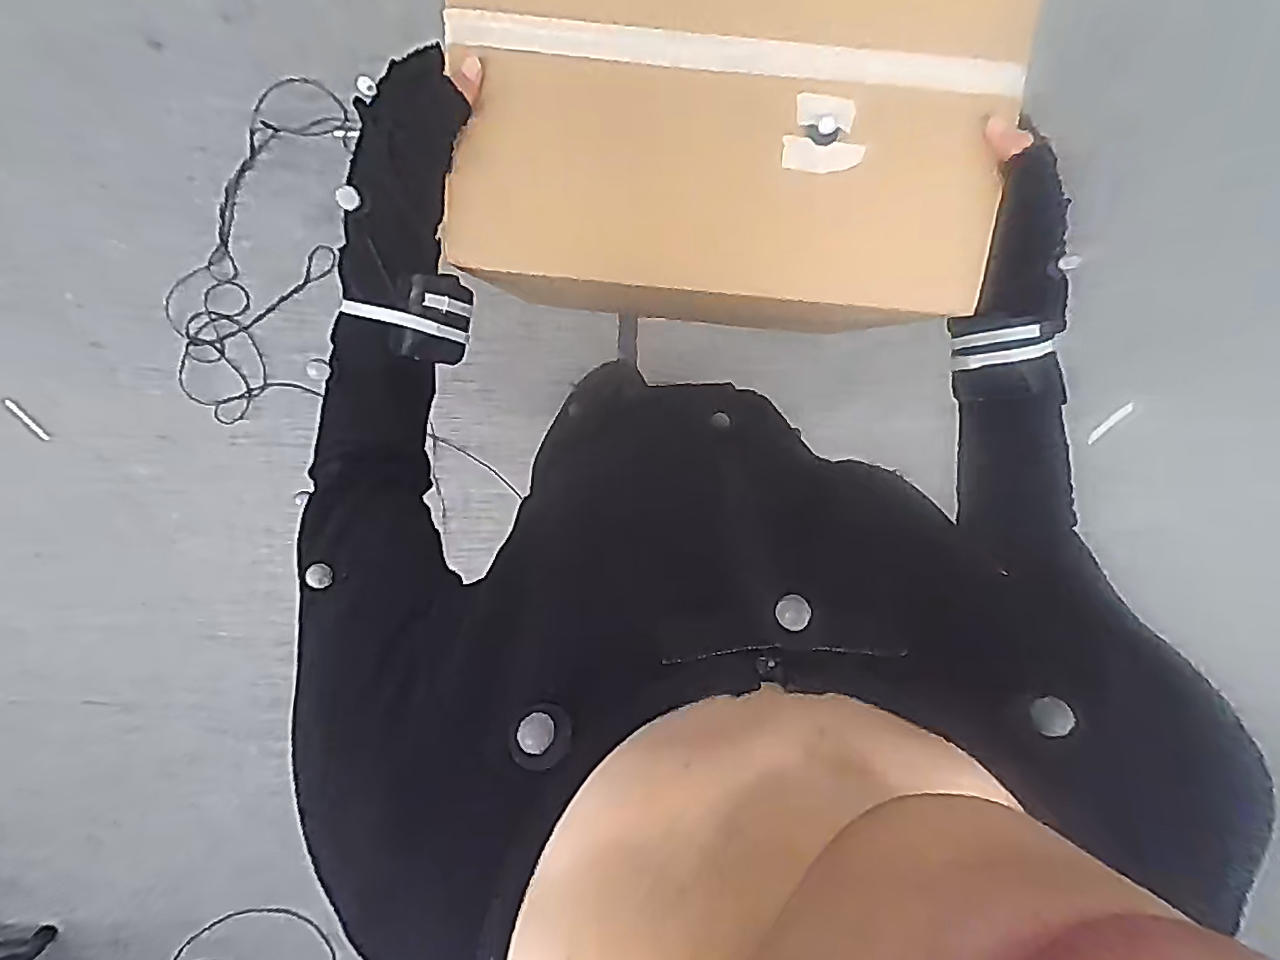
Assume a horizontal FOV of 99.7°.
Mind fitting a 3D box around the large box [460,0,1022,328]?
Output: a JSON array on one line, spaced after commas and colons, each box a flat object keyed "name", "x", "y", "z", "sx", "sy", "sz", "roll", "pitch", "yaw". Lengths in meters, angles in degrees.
[{"name": "large box", "x": 0.066, "y": -0.333, "z": 0.537, "sx": 0.408, "sy": 0.320, "sz": 0.320, "roll": 5, "pitch": 102, "yaw": -2}]
